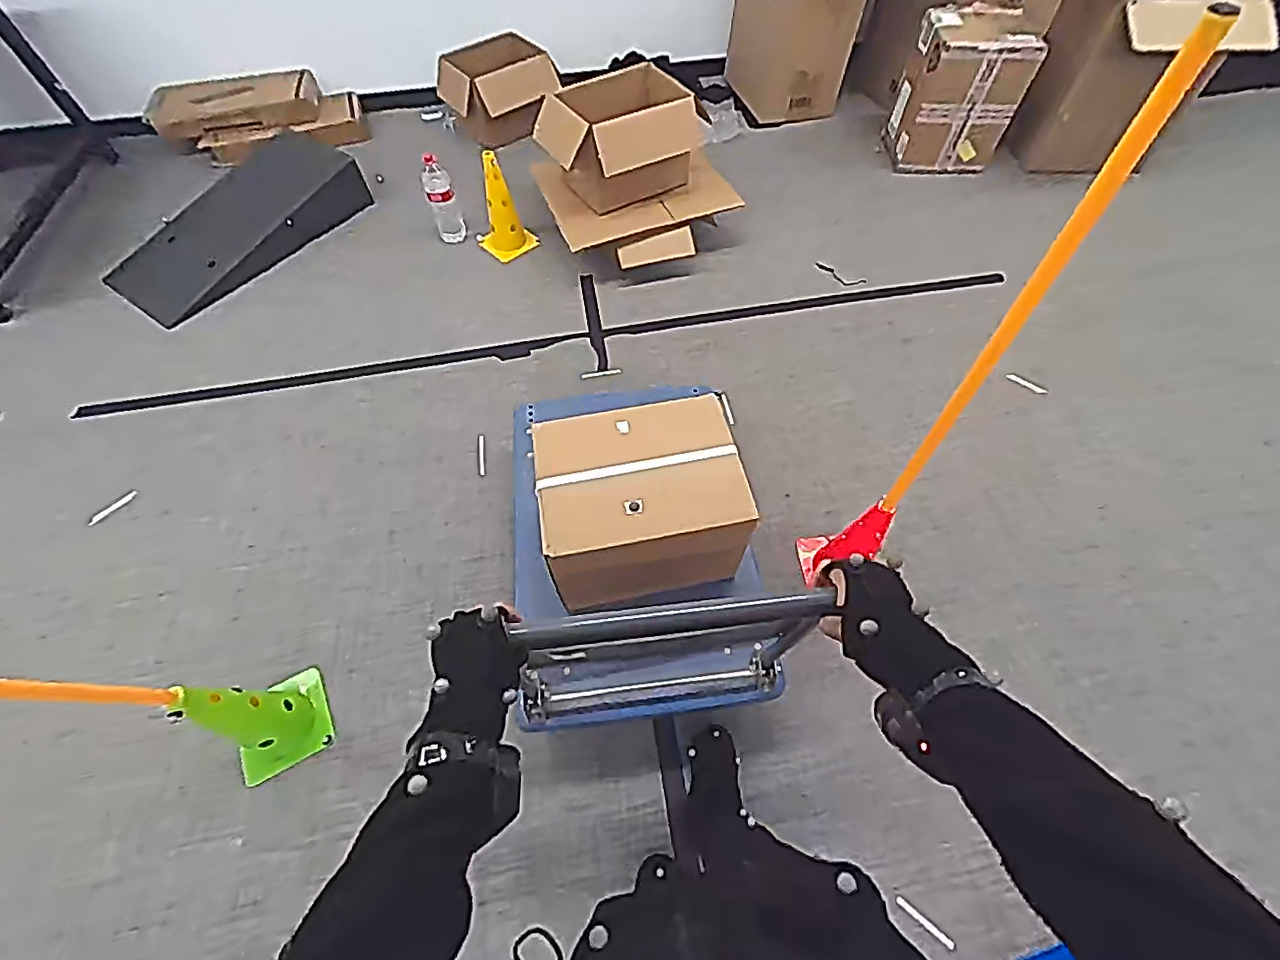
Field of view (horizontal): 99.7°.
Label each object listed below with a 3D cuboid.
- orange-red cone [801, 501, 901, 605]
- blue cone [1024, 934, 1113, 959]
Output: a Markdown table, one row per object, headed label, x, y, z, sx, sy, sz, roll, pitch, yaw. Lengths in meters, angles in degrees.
| label | x | y | z | sx | sy | sz | roll | pitch | yaw |
| --- | --- | --- | --- | --- | --- | --- | --- | --- | --- |
| orange-red cone | 0.544 | 0.150 | 1.308 | 0.199 | 0.360 | 0.198 | -3 | 59 | -2 |
| blue cone | 0.825 | 0.891 | 0.858 | 0.193 | 0.380 | 0.192 | -12 | 58 | -7 |
